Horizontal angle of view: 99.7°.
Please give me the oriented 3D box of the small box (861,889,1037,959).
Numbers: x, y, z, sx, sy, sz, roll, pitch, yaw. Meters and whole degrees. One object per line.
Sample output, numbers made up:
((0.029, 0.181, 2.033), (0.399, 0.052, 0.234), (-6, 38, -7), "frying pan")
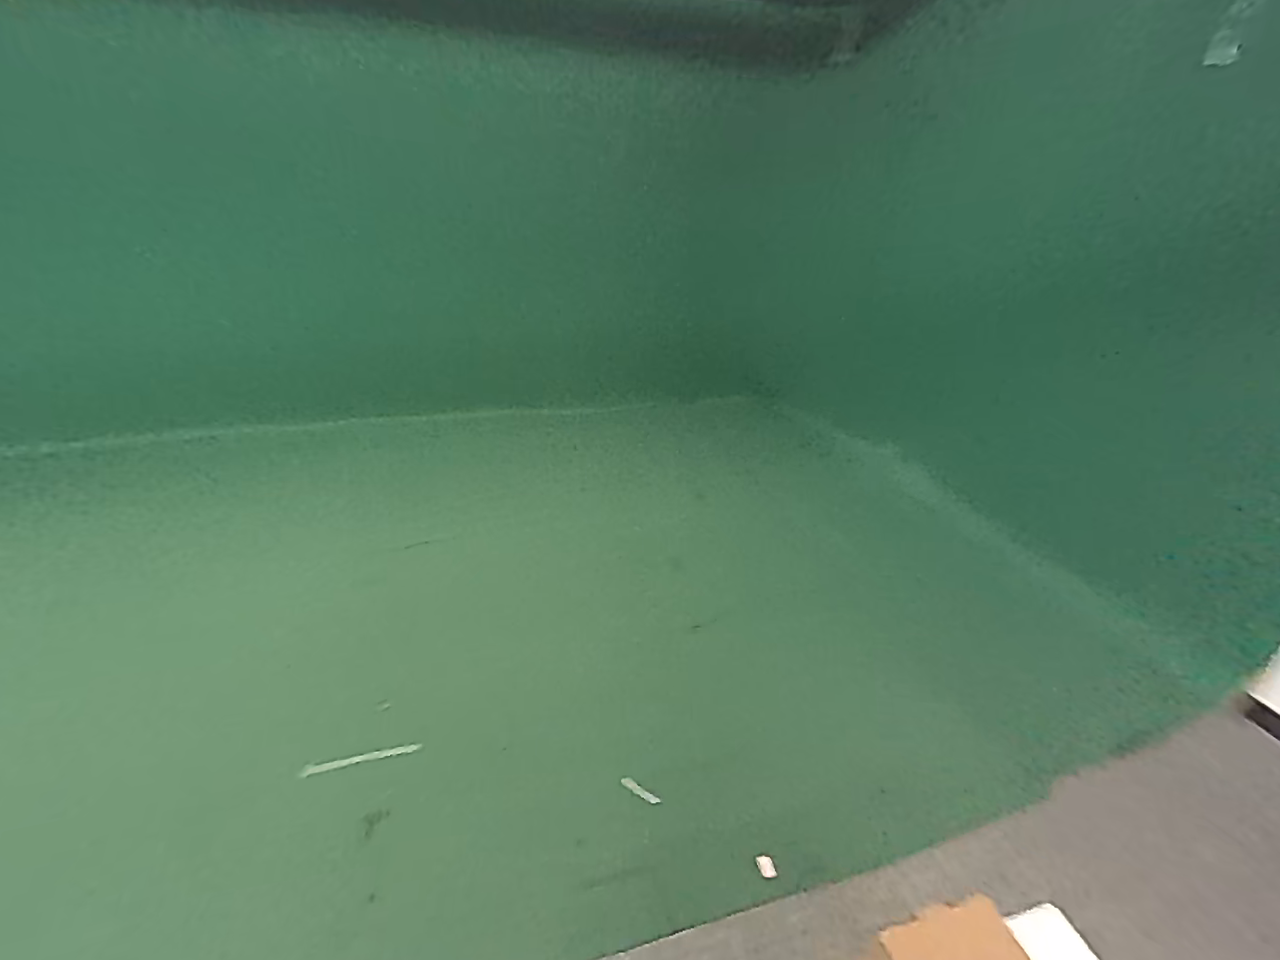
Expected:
((0.384, 0.643, 0.645), (0.168, 0.176, 0.179), (-6, 32, -14), "small box")
